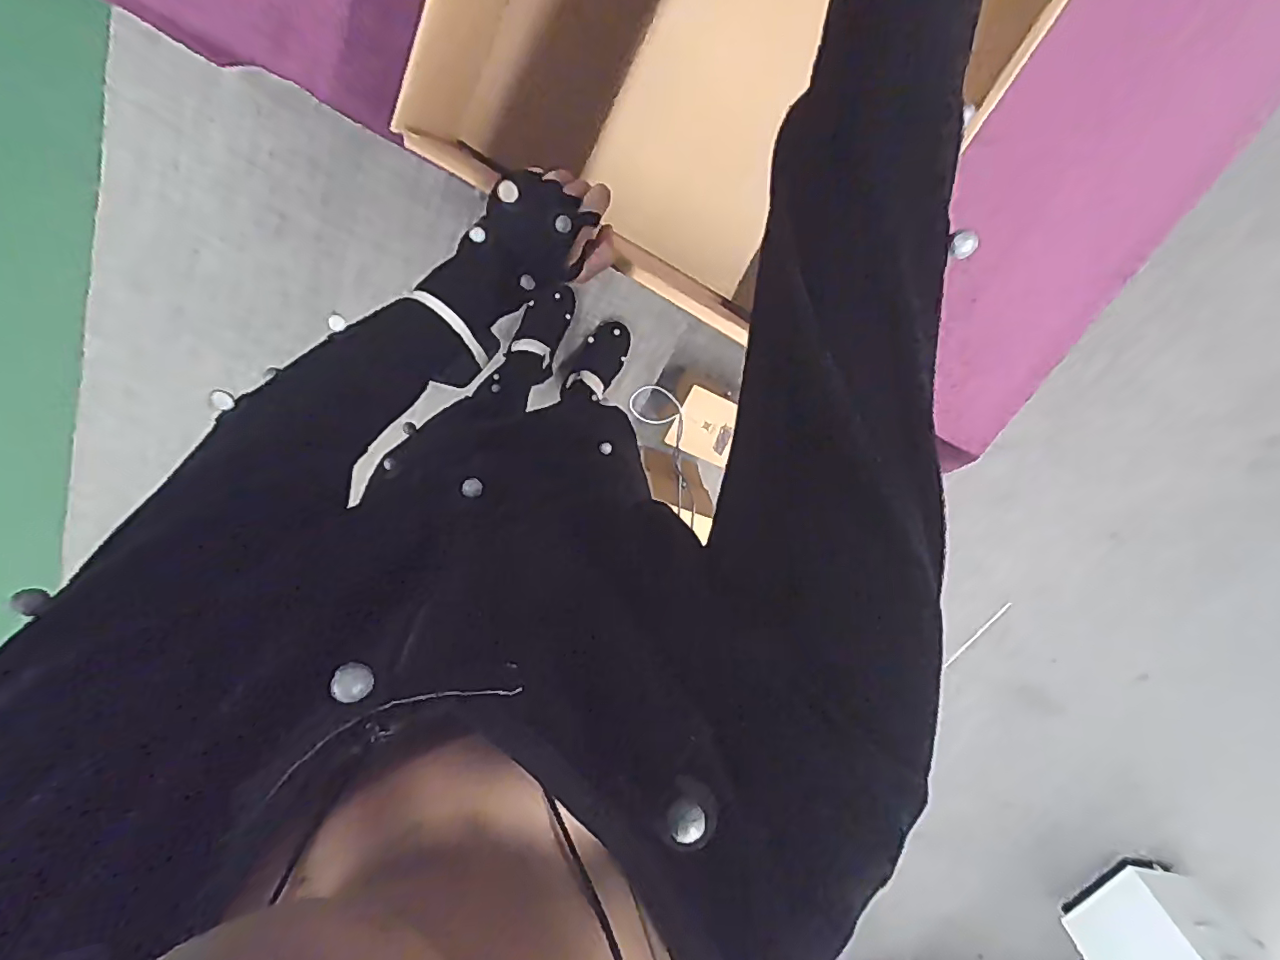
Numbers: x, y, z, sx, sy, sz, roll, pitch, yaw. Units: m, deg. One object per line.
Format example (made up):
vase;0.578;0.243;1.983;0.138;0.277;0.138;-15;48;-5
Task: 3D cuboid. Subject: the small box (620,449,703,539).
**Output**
small box;0.053;0.031;1.504;0.179;0.176;0.168;20;114;-12
